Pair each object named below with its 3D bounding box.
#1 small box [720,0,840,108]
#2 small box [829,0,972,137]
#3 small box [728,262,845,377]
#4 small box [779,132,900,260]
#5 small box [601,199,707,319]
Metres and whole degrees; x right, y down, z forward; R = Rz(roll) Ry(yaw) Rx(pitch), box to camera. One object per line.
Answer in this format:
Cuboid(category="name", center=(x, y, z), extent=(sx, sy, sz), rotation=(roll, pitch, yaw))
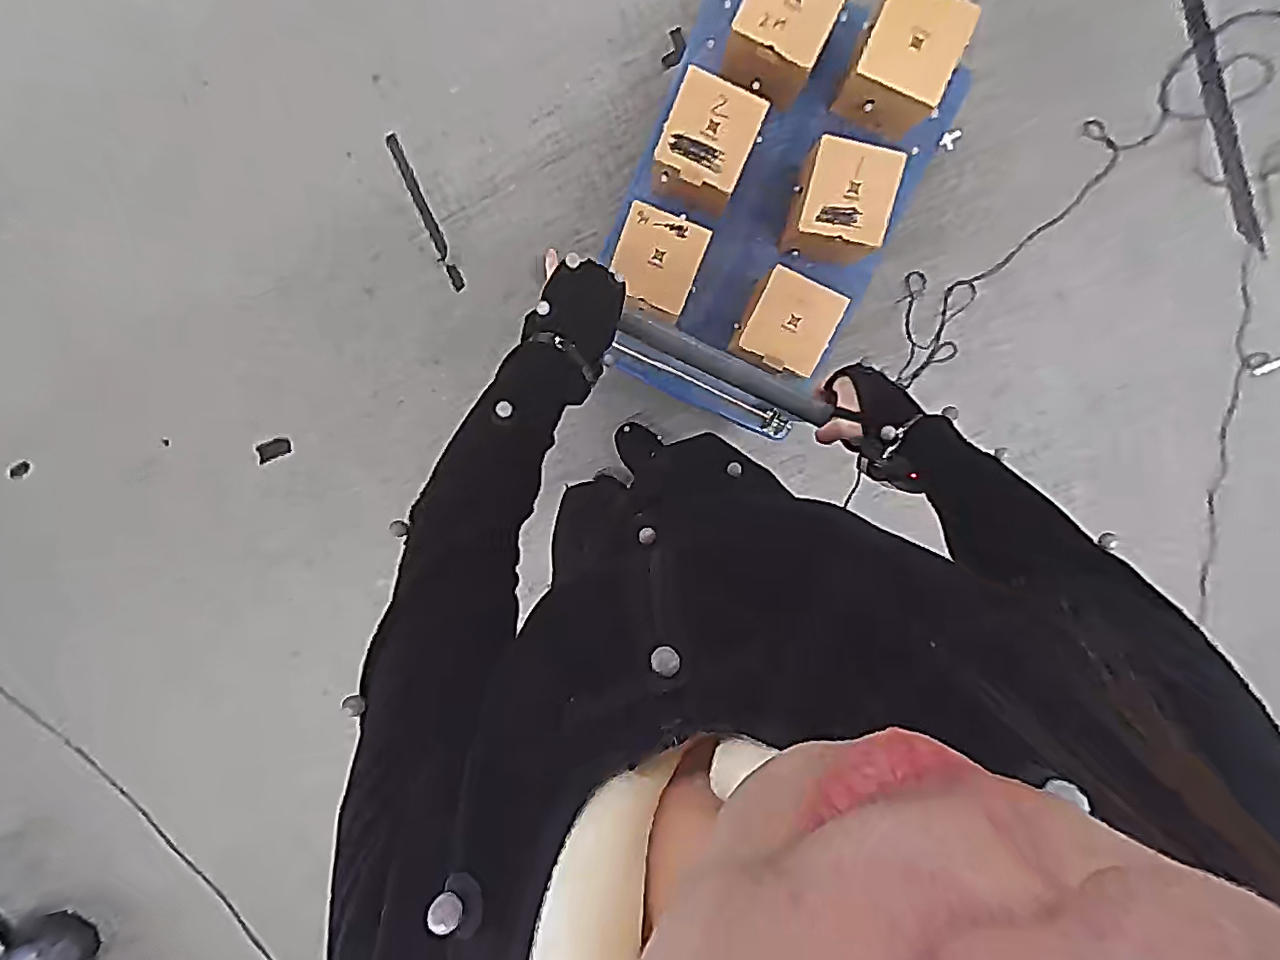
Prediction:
Cuboid(category="small box", center=(0.269, -0.881, 1.052), extent=(0.168, 0.176, 0.179), rotation=(26, 102, -4))
Cuboid(category="small box", center=(0.495, -0.819, 1.063), extent=(0.168, 0.176, 0.179), rotation=(21, 101, -3))
Cuboid(category="small box", center=(0.302, -0.335, 1.162), extent=(0.168, 0.176, 0.179), rotation=(25, 100, -4))
Cuboid(category="small box", center=(0.397, -0.570, 1.113), extent=(0.168, 0.176, 0.179), rotation=(13, 100, -2))
Cuboid(category="small box", center=(0.029, -0.453, 1.142), extent=(0.168, 0.176, 0.179), rotation=(21, 101, -4))
